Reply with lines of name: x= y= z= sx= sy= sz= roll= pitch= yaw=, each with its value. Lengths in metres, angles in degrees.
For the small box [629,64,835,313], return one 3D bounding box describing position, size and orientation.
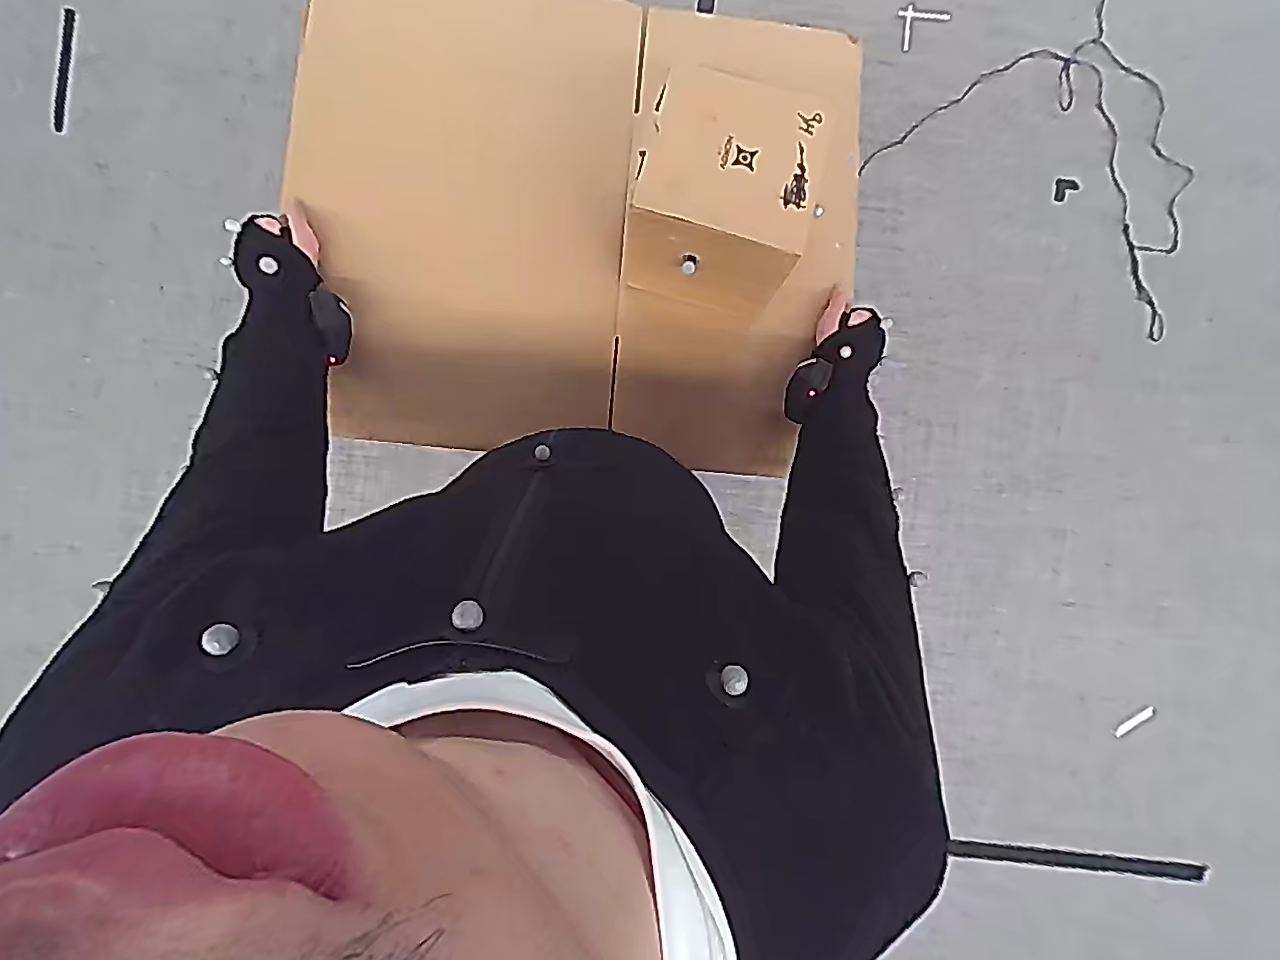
small box: x=0.090 y=-0.312 z=0.616 sx=0.179 sy=0.176 sz=0.168 roll=15 pitch=84 yaw=-1
